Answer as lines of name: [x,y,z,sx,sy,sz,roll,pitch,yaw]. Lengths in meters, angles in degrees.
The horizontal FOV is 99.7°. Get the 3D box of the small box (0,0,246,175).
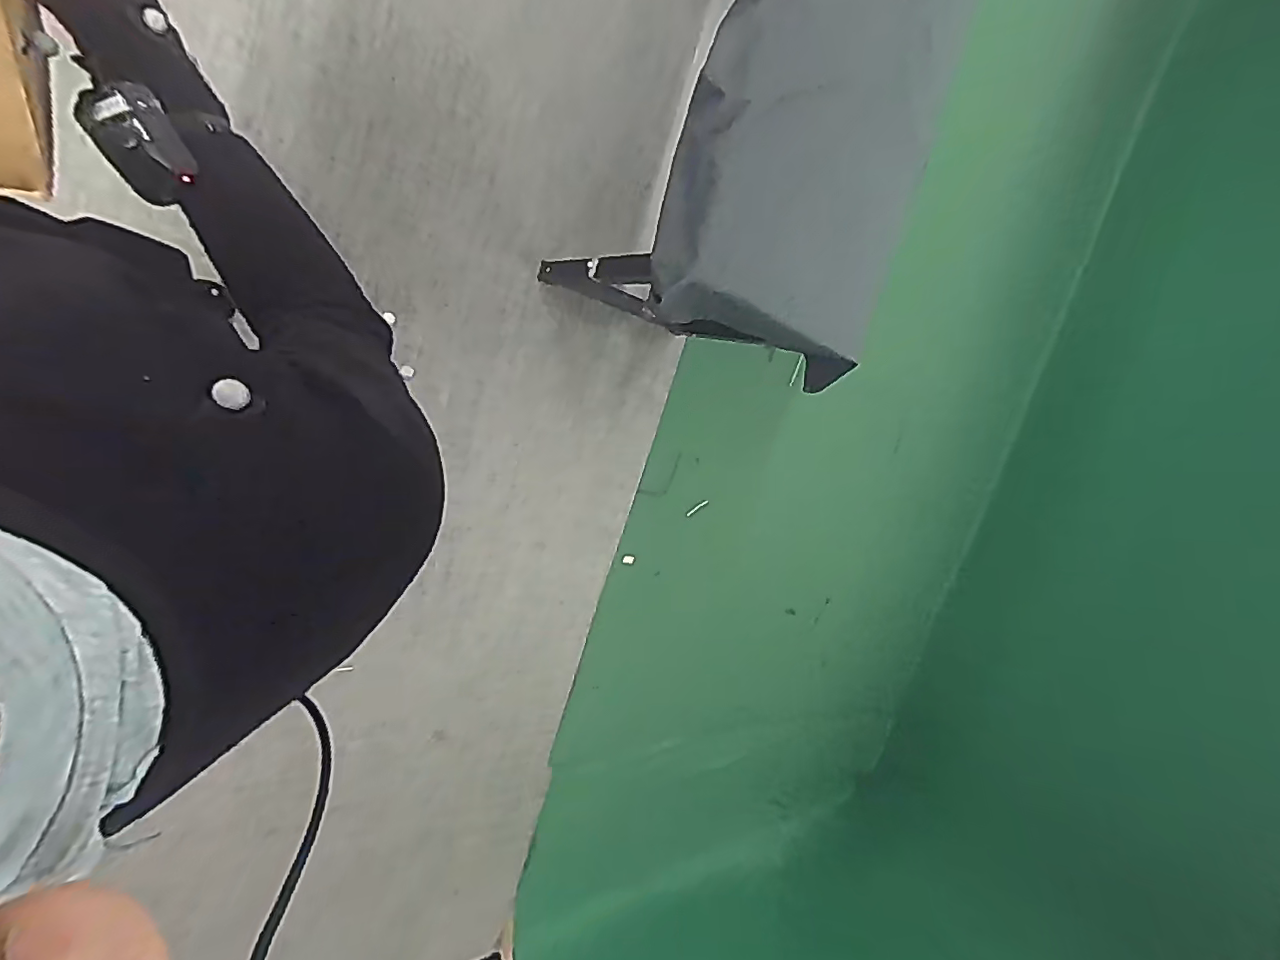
small box: [-0.387,-0.339,0.325,0.176,0.168,0.179,-54,167,9]
